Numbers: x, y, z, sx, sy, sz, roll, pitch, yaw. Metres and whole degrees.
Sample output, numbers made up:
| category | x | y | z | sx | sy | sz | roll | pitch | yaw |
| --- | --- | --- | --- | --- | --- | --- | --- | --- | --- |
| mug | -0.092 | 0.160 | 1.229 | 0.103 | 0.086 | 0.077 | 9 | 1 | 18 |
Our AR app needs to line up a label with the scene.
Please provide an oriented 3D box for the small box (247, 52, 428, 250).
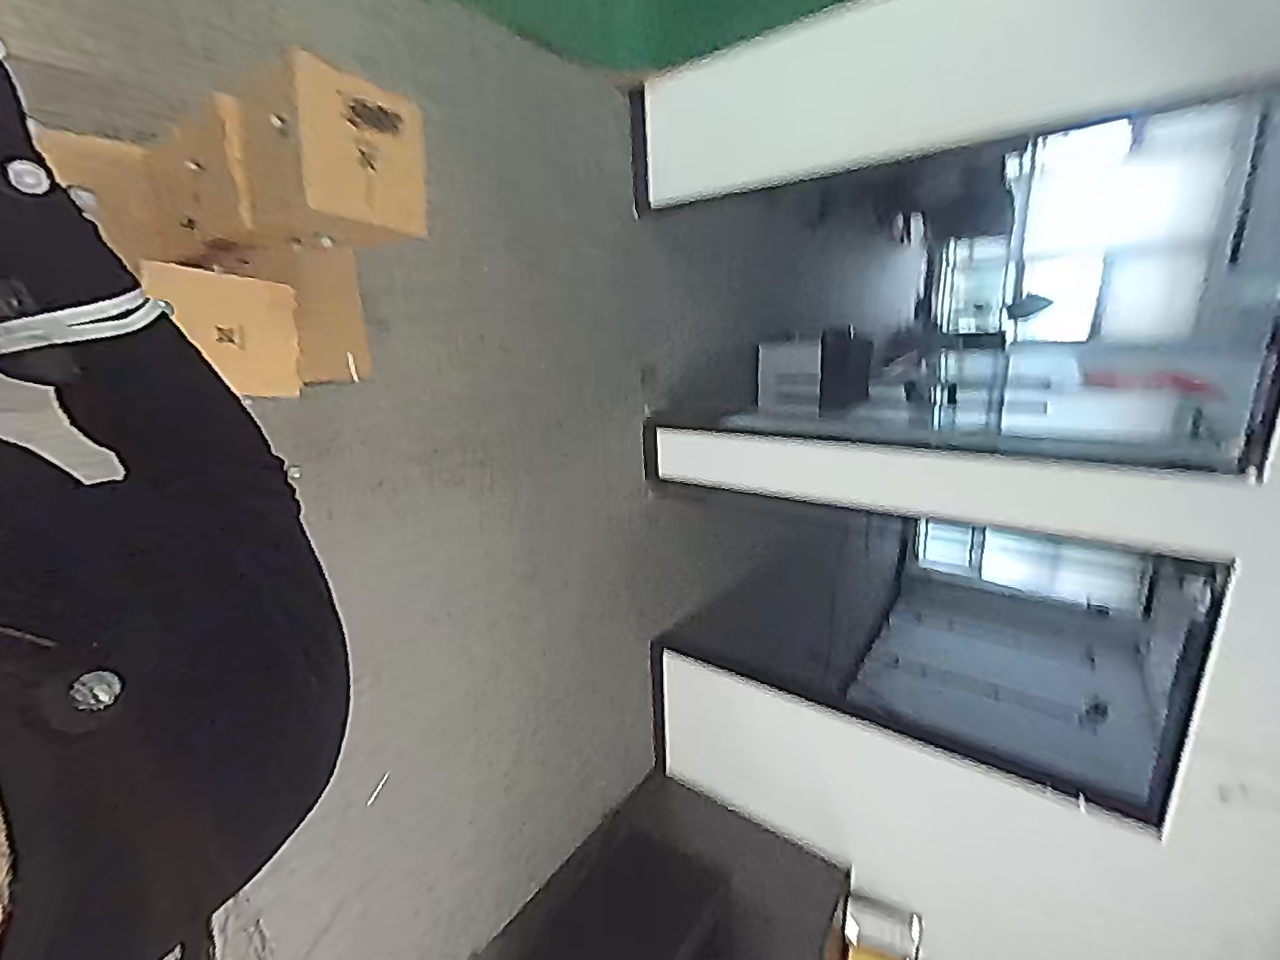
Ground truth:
| category | x | y | z | sx | sy | sz | roll | pitch | yaw |
| --- | --- | --- | --- | --- | --- | --- | --- | --- | --- |
| small box | -0.419 | -0.437 | 0.754 | 0.168 | 0.176 | 0.179 | -12 | 108 | -54 |

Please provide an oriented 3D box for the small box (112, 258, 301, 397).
| category | x | y | z | sx | sy | sz | roll | pitch | yaw |
| --- | --- | --- | --- | --- | --- | --- | --- | --- | --- |
| small box | -0.628 | -0.214 | 0.791 | 0.179 | 0.176 | 0.168 | -8 | 104 | -54 |

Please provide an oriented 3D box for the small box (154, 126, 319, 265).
| category | x | y | z | sx | sy | sz | roll | pitch | yaw |
| --- | --- | --- | --- | --- | --- | --- | --- | --- | --- |
| small box | -0.691 | -0.473 | 0.932 | 0.168 | 0.176 | 0.179 | -24 | 116 | -52 |

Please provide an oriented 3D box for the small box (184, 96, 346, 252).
| category | x | y | z | sx | sy | sz | roll | pitch | yaw |
| --- | --- | --- | --- | --- | --- | --- | --- | --- | --- |
| small box | -0.558 | -0.456 | 0.839 | 0.179 | 0.176 | 0.168 | -20 | 114 | -52 |
